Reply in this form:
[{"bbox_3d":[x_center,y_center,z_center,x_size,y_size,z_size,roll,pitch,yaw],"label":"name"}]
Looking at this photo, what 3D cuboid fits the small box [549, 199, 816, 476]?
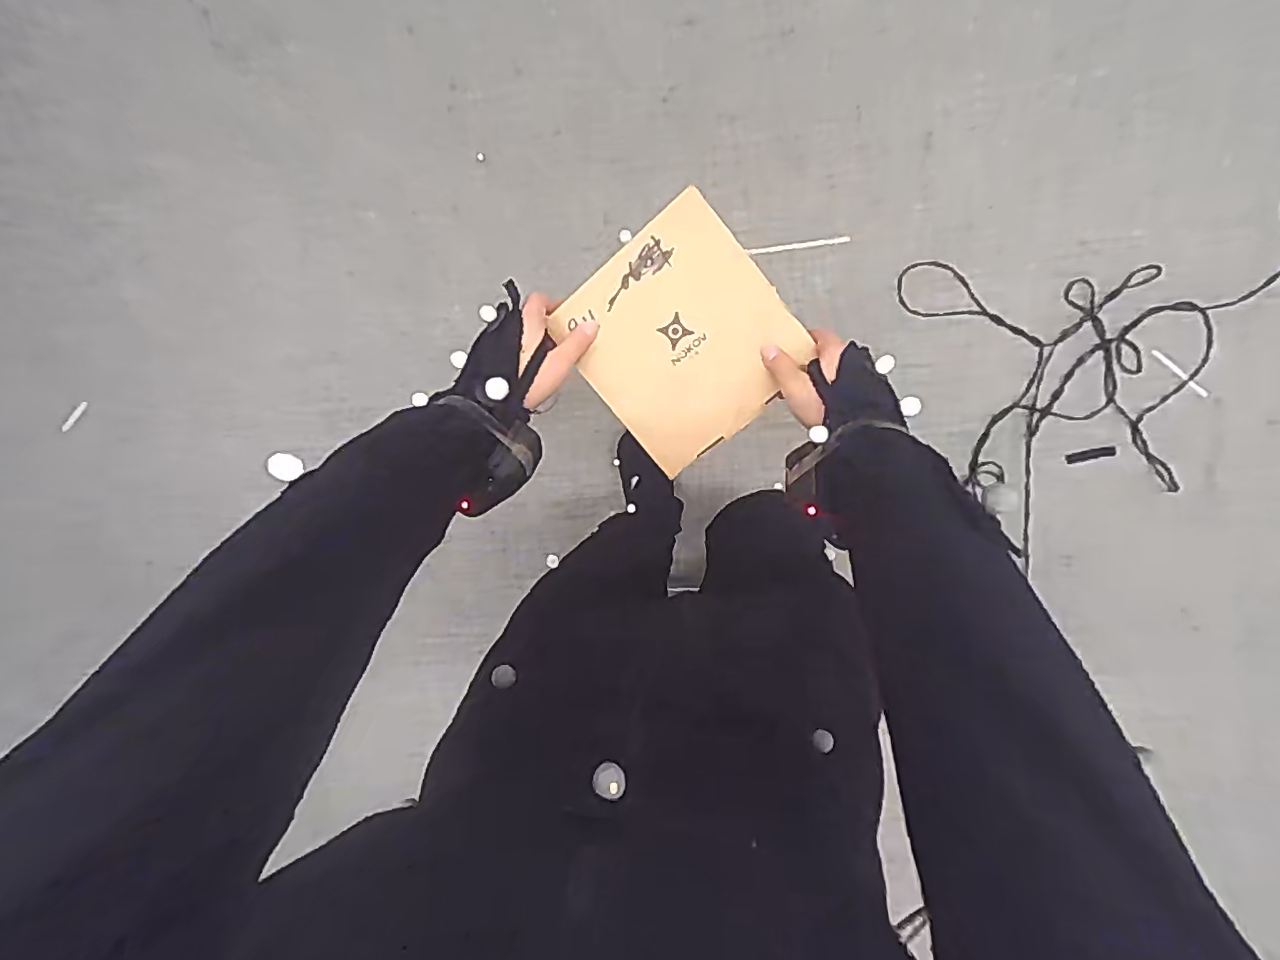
[{"bbox_3d":[0.043,-0.133,0.539,0.168,0.176,0.179,-38,96,11],"label":"small box"}]
